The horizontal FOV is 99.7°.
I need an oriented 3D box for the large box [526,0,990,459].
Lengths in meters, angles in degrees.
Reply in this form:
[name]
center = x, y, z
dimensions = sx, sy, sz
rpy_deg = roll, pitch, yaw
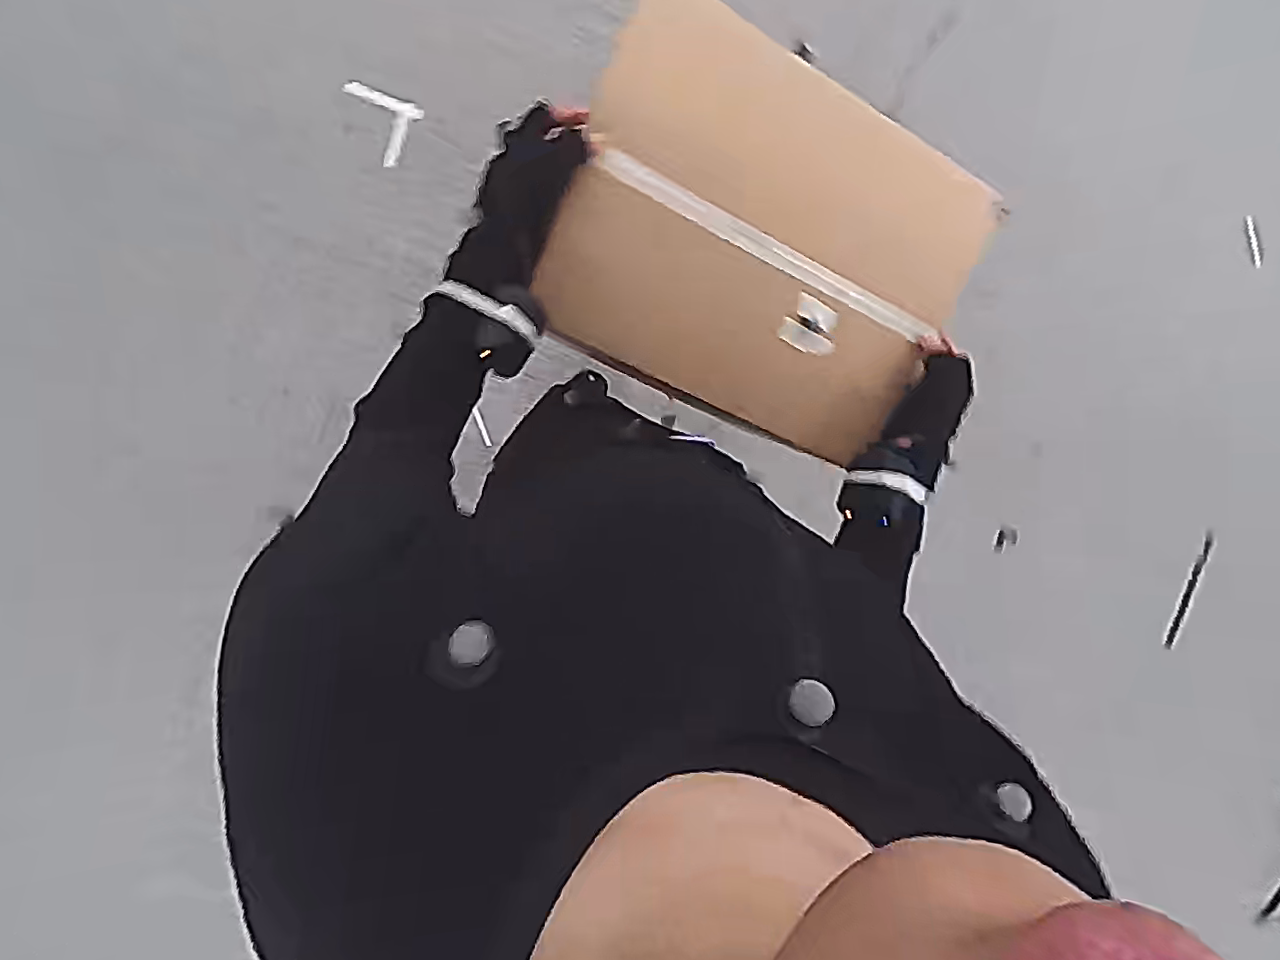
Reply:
[large box]
center = 0.102, -0.266, 0.679
dimensions = 0.408, 0.320, 0.320
rpy_deg = 24, 99, -15
